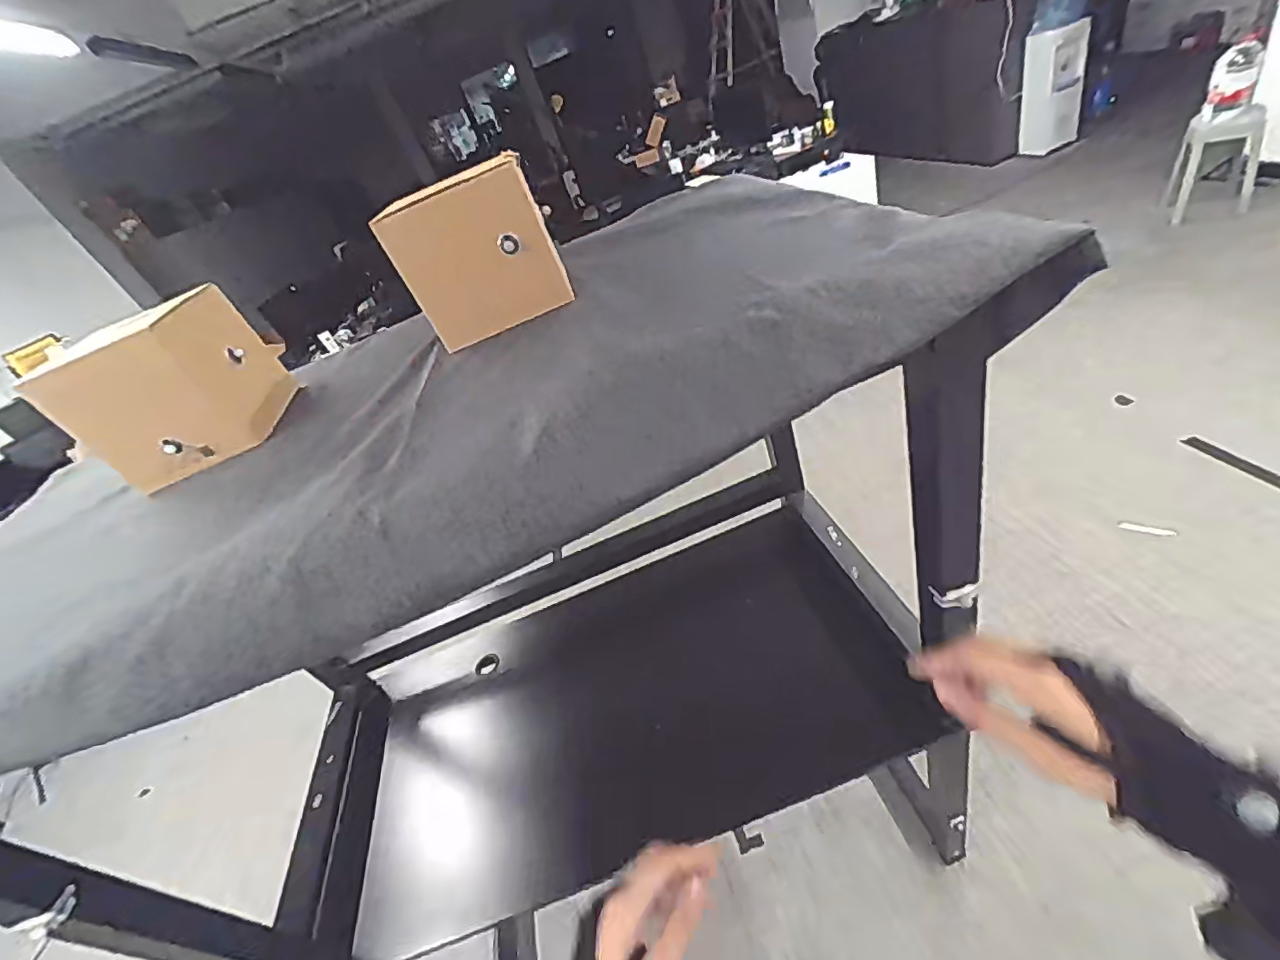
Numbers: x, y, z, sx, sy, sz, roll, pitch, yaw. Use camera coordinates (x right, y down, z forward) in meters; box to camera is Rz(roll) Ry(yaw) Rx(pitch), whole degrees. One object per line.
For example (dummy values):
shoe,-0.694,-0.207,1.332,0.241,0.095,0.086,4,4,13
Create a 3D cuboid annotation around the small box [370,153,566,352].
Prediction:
small box,-0.204,-0.293,0.697,0.179,0.176,0.168,-22,35,2
